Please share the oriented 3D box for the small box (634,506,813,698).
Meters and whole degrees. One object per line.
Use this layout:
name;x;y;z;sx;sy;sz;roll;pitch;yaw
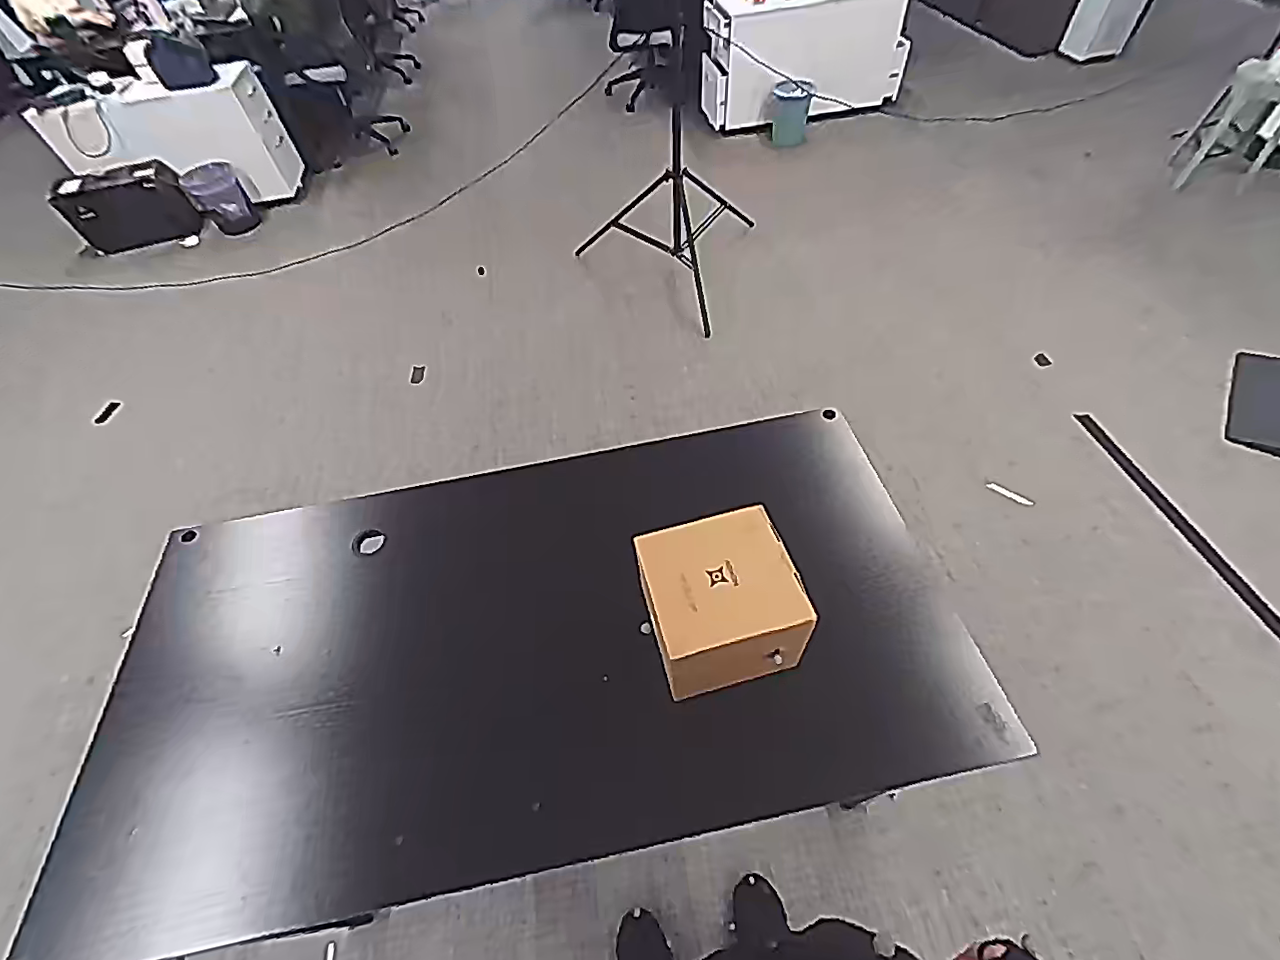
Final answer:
small box;0.101;0.164;0.713;0.179;0.176;0.168;-16;53;-5
